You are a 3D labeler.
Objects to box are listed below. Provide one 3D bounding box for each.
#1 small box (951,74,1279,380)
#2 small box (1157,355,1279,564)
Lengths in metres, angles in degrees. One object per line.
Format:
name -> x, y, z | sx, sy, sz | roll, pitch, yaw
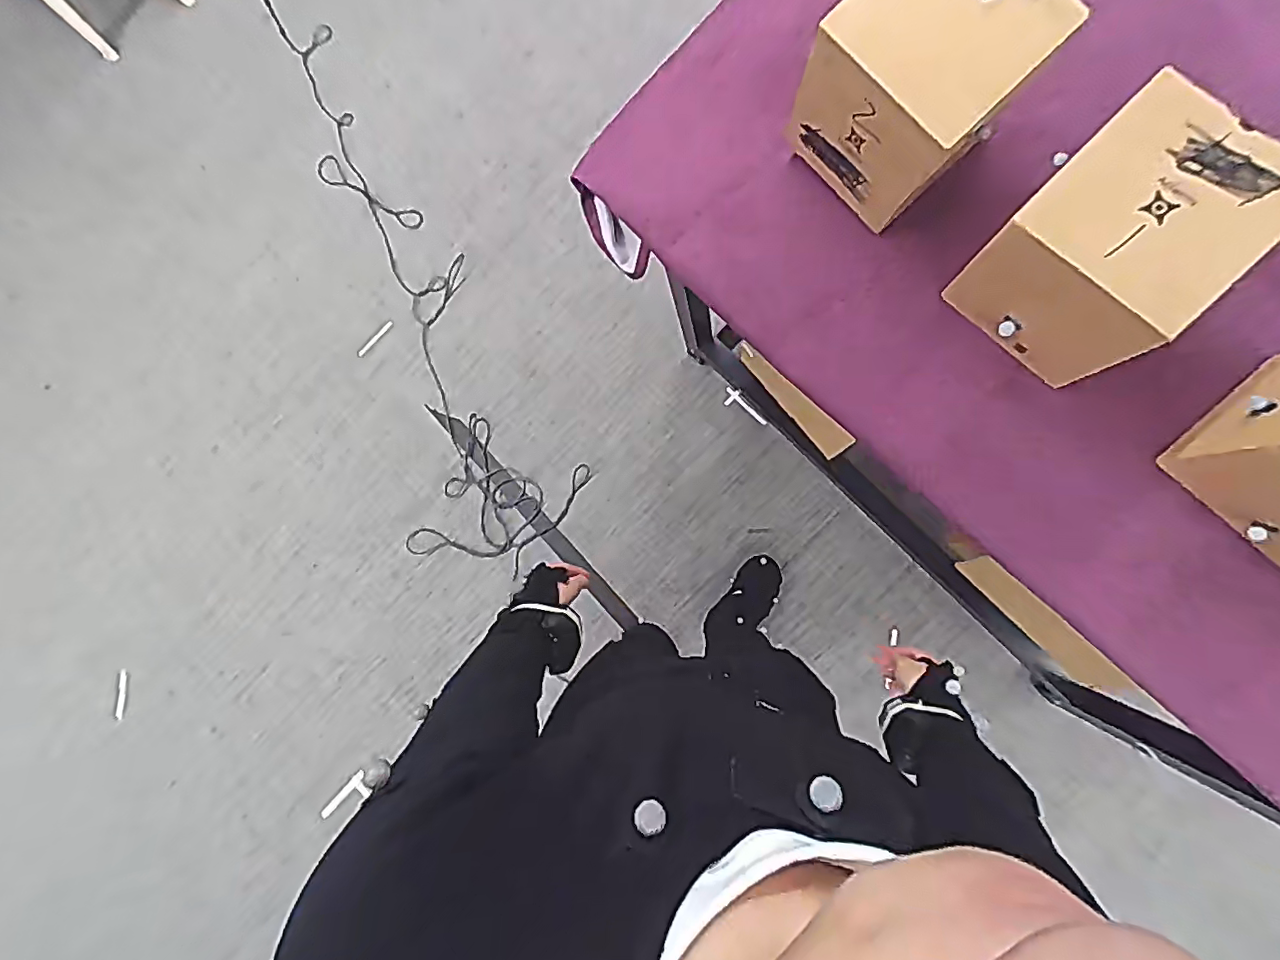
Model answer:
small box -> 0.457, -0.230, 0.537 | 0.179, 0.176, 0.168 | -45, 80, 4
small box -> 0.656, -0.027, 0.482 | 0.168, 0.176, 0.179 | -43, 79, 2
